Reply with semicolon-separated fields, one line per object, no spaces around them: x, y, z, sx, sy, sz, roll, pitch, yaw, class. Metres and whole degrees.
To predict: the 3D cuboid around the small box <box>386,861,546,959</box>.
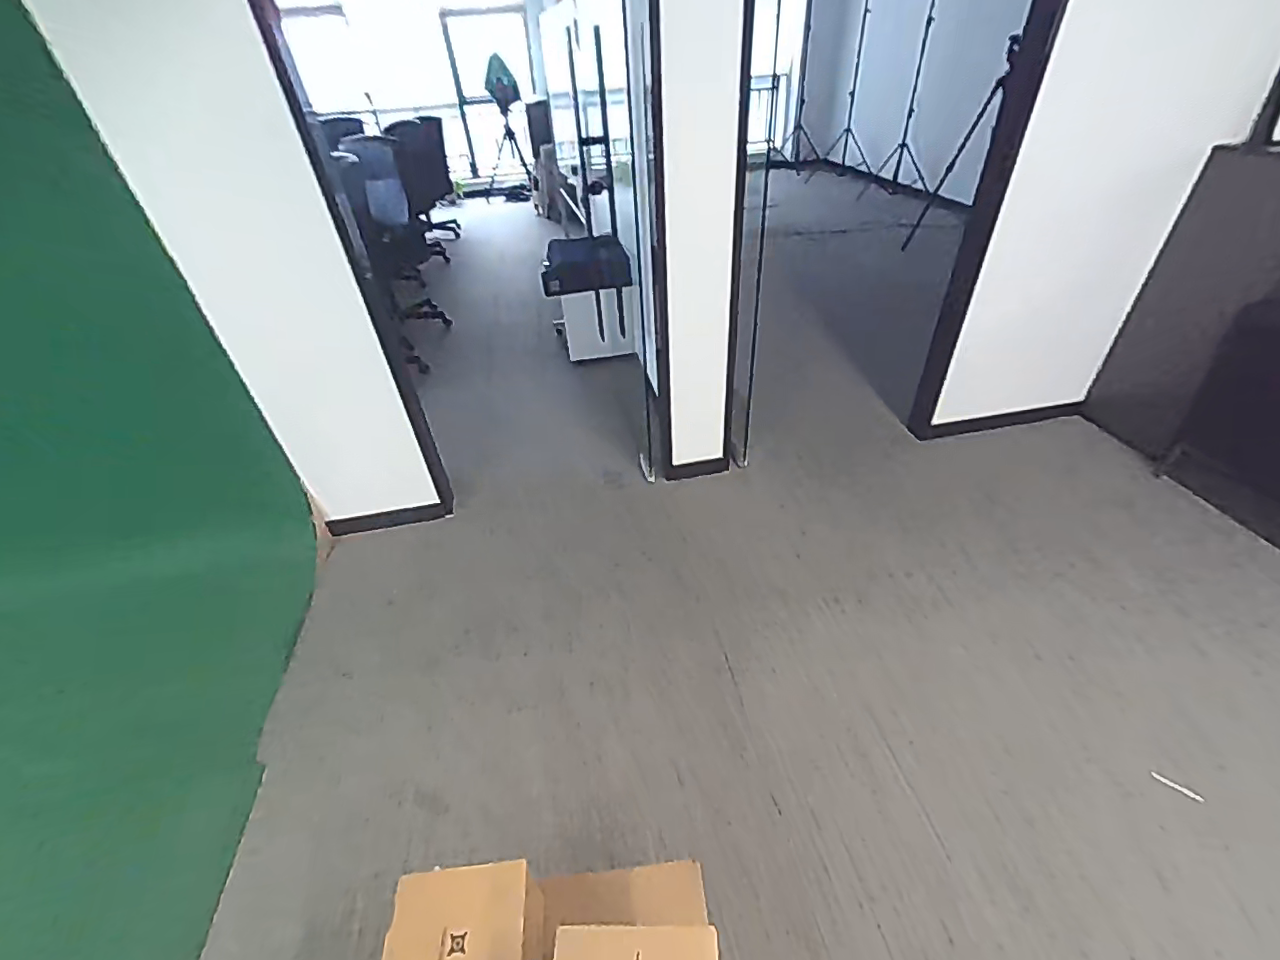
-0.226;0.645;0.728;0.179;0.176;0.168;-6;38;-2;small box

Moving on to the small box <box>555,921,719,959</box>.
0.000;0.570;0.534;0.168;0.176;0.179;-2;36;2;small box
